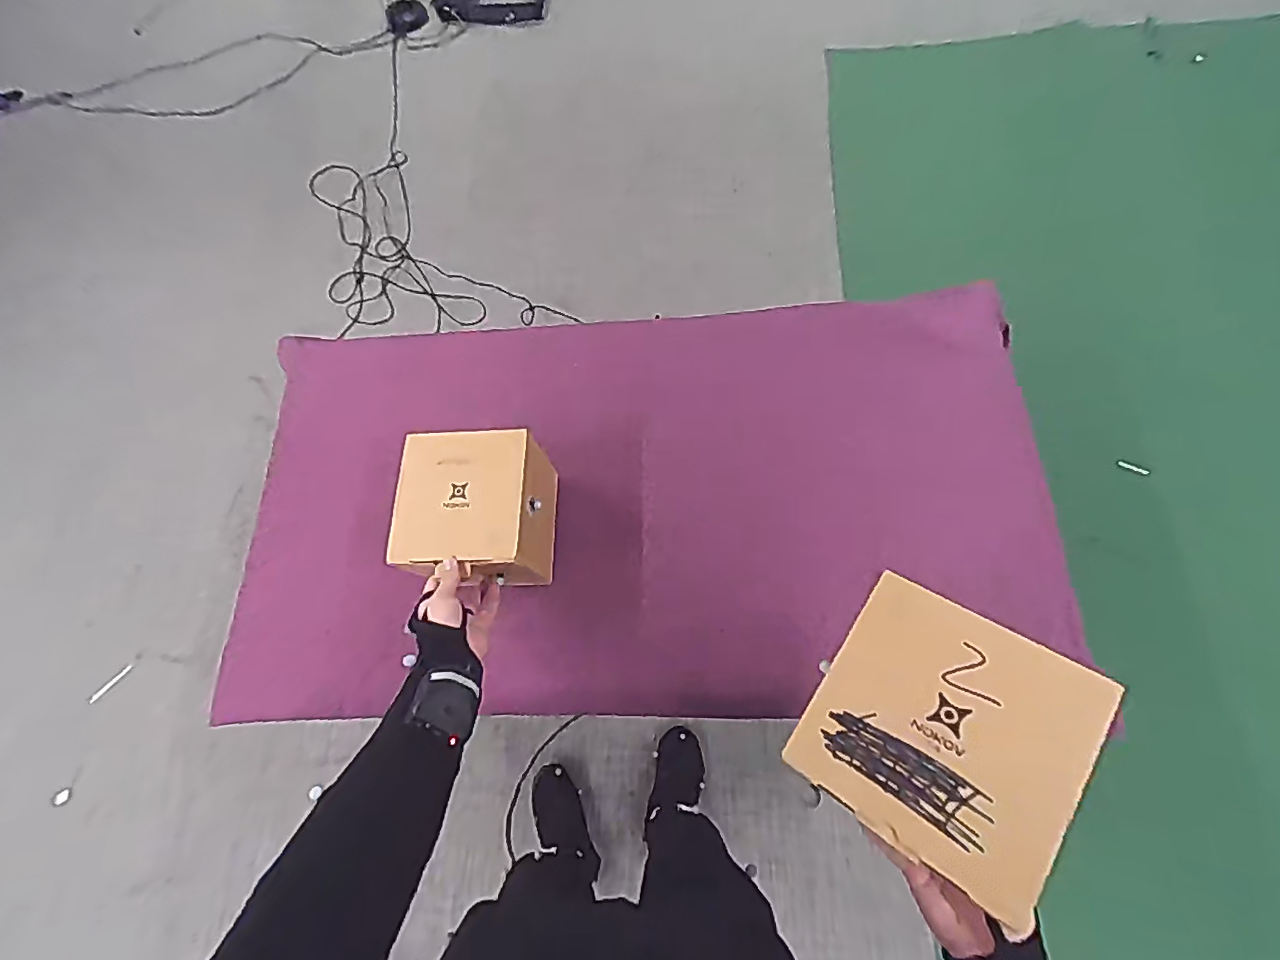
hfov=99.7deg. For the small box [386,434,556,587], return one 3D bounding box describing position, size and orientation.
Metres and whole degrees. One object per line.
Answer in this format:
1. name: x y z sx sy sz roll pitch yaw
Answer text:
1. small box: -0.221 0.052 0.756 0.168 0.176 0.179 -1 68 6
